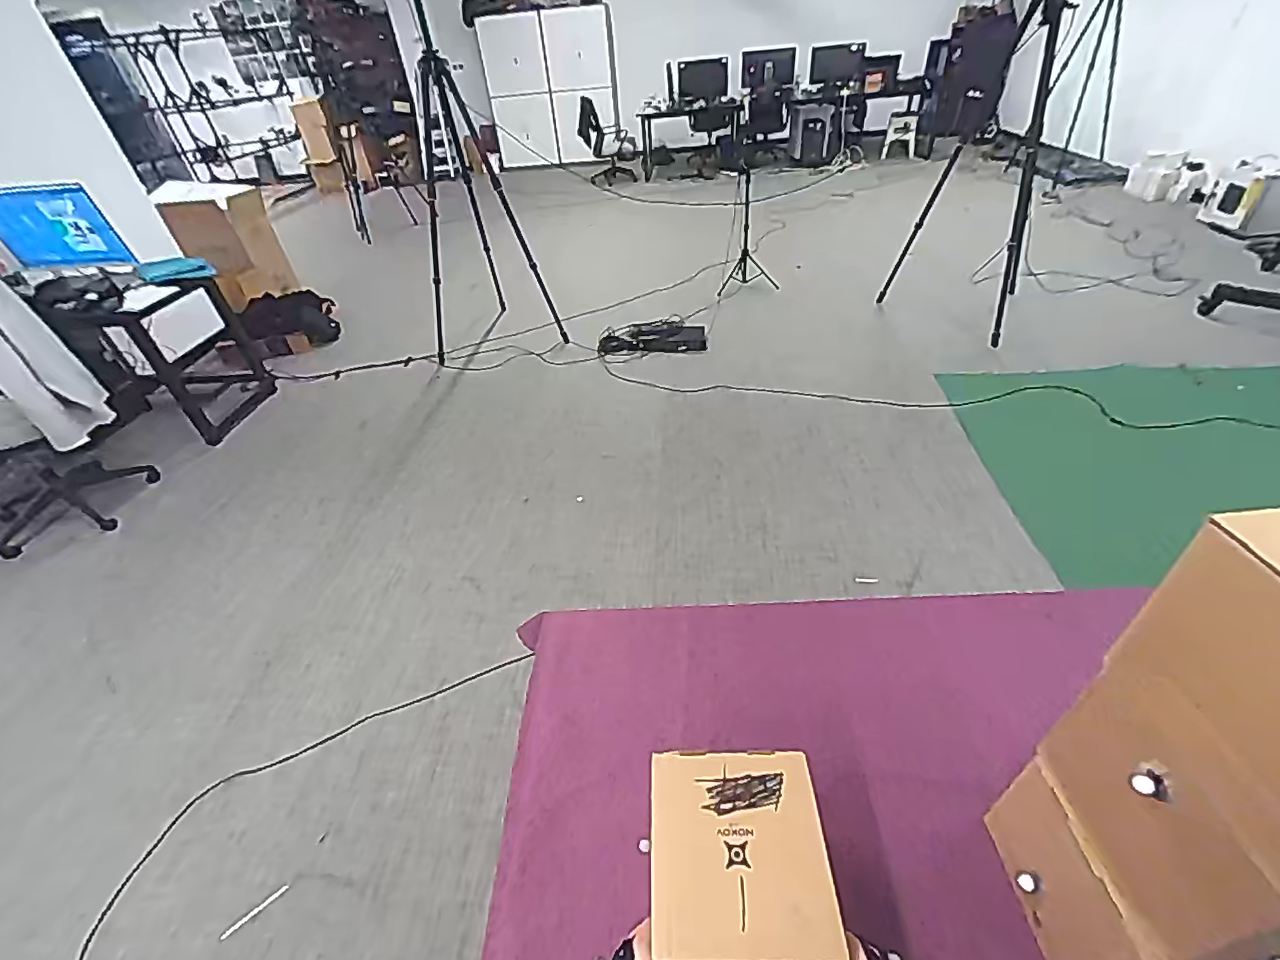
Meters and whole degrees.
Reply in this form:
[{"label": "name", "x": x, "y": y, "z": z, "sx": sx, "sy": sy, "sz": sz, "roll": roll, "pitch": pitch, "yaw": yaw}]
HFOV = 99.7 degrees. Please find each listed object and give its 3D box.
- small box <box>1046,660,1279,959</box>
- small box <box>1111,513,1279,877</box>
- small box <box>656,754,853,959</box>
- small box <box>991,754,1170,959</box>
[{"label": "small box", "x": 0.481, "y": 0.264, "z": 0.436, "sx": 0.168, "sy": 0.176, "sz": 0.179, "roll": -5, "pitch": 40, "yaw": 4}, {"label": "small box", "x": 0.462, "y": 0.135, "z": 0.339, "sx": 0.168, "sy": 0.176, "sz": 0.179, "roll": -6, "pitch": 40, "yaw": 2}, {"label": "small box", "x": 0.102, "y": 0.412, "z": 0.562, "sx": 0.168, "sy": 0.176, "sz": 0.179, "roll": -3, "pitch": 38, "yaw": 3}, {"label": "small box", "x": 0.497, "y": 0.391, "z": 0.537, "sx": 0.179, "sy": 0.176, "sz": 0.168, "roll": -3, "pitch": 39, "yaw": 4}]
